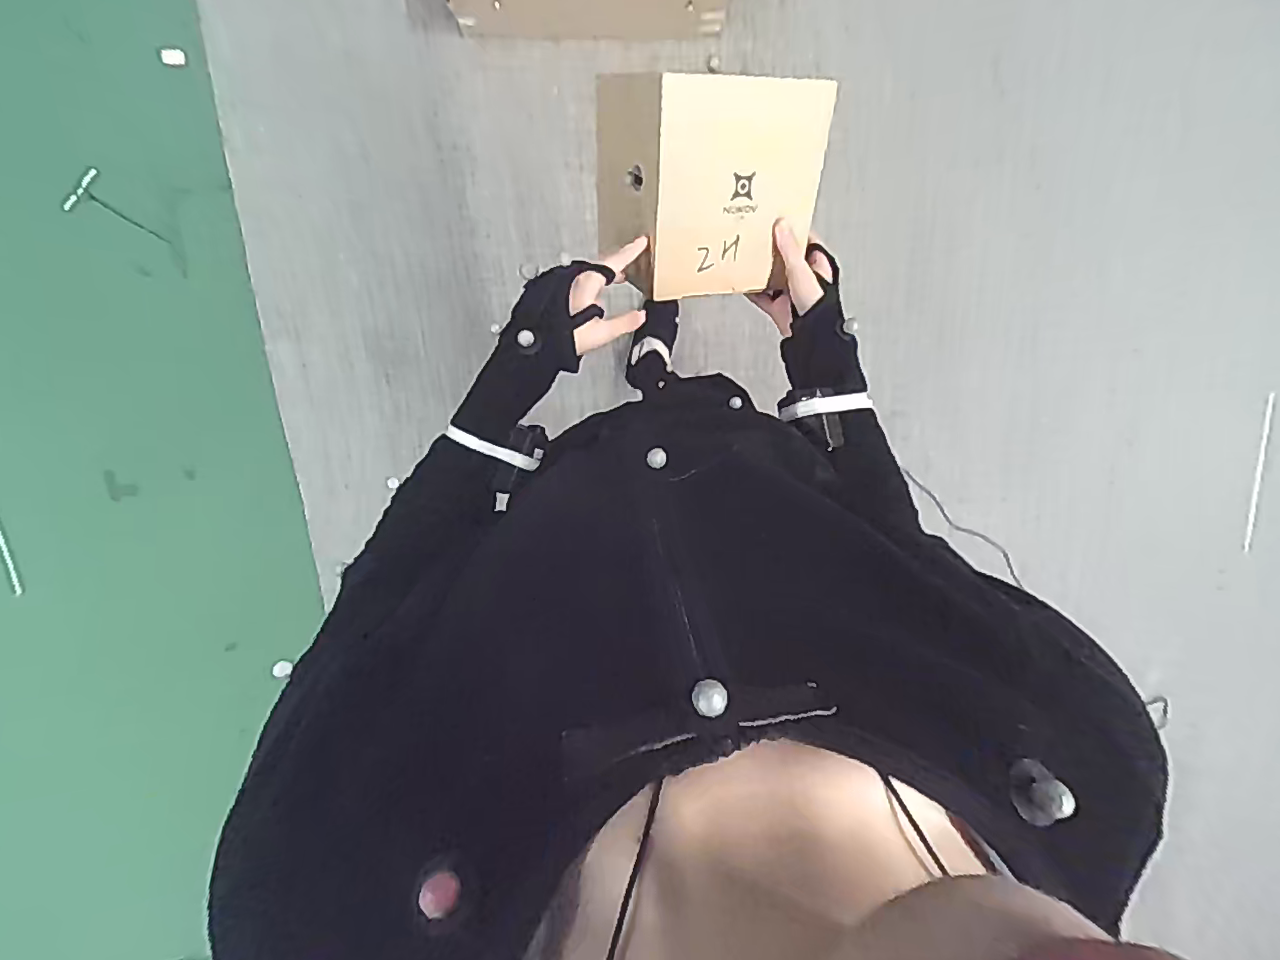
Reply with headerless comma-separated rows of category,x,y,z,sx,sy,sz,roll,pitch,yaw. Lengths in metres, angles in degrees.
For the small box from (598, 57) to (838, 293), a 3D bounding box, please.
small box,0.059,-0.301,0.536,0.168,0.176,0.179,-10,128,-18
